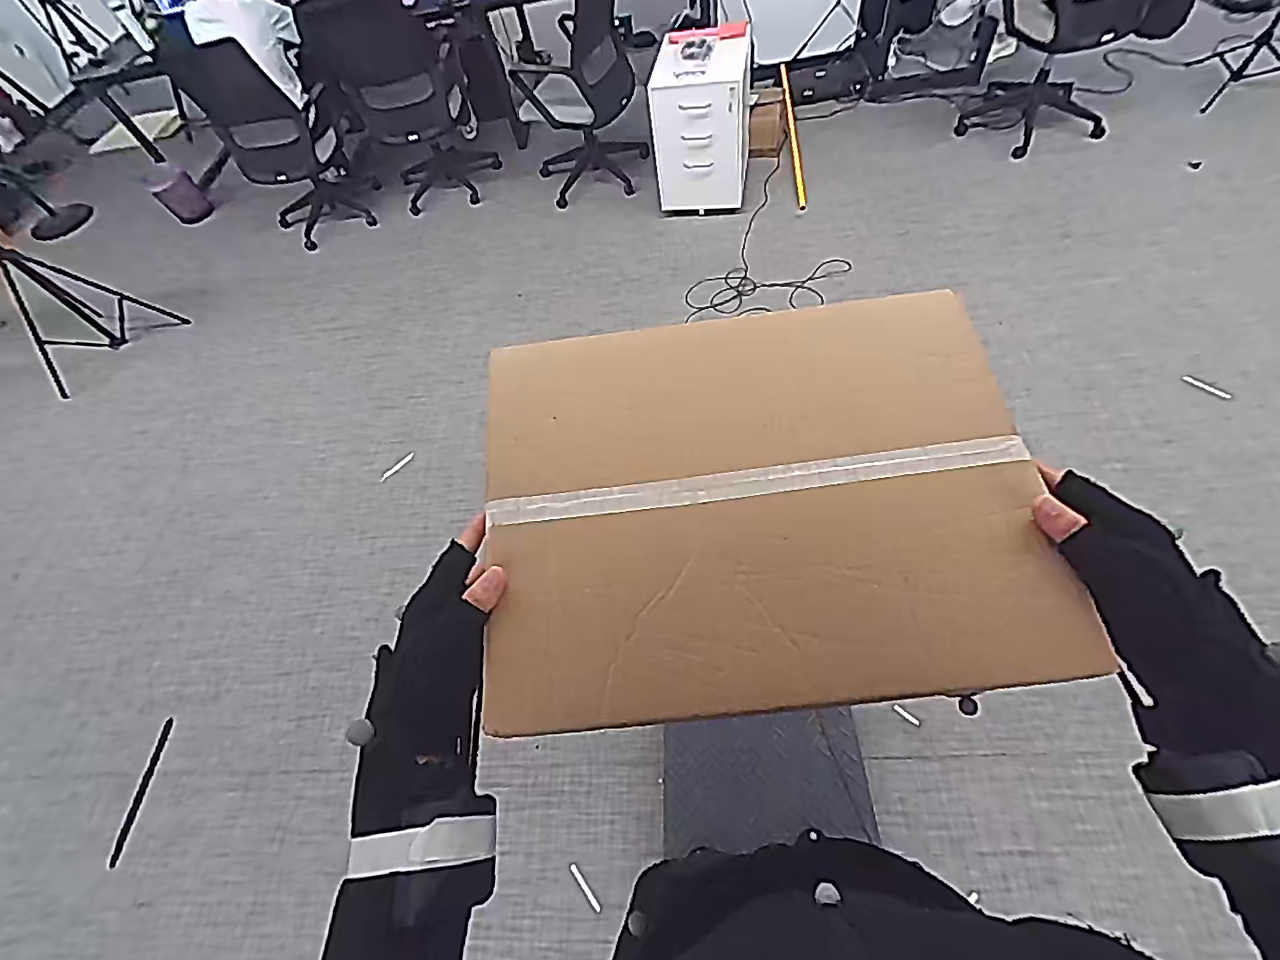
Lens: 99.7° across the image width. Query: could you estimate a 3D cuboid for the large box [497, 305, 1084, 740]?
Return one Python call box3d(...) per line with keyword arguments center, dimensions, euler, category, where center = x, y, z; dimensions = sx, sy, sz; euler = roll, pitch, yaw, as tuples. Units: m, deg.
box3d(center=(0.099, 0.068, 0.557), dimensions=(0.408, 0.320, 0.320), euler=(-7, 66, 3), category="large box")
